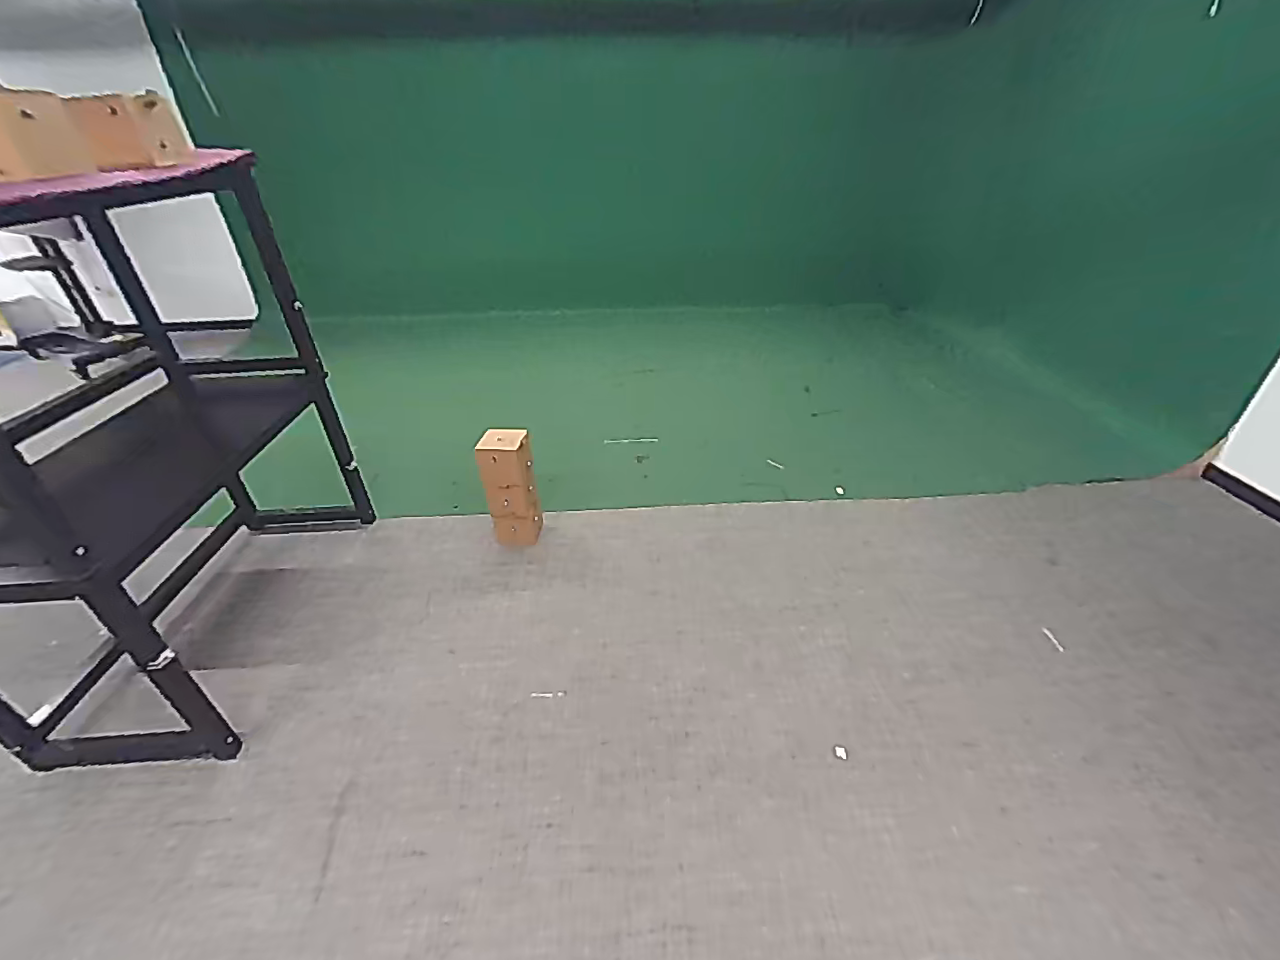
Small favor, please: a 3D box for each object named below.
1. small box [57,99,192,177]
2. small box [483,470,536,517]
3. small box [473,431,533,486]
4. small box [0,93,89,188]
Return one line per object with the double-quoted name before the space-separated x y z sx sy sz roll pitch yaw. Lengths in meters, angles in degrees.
"small box" -1.421 -0.950 1.504 0.179 0.176 0.168 -3 35 2
"small box" -0.547 0.046 2.302 0.168 0.176 0.179 0 34 5
"small box" -0.553 -0.086 2.200 0.179 0.176 0.168 2 34 7
"small box" -1.412 -0.751 1.204 0.168 0.176 0.179 -4 33 0
